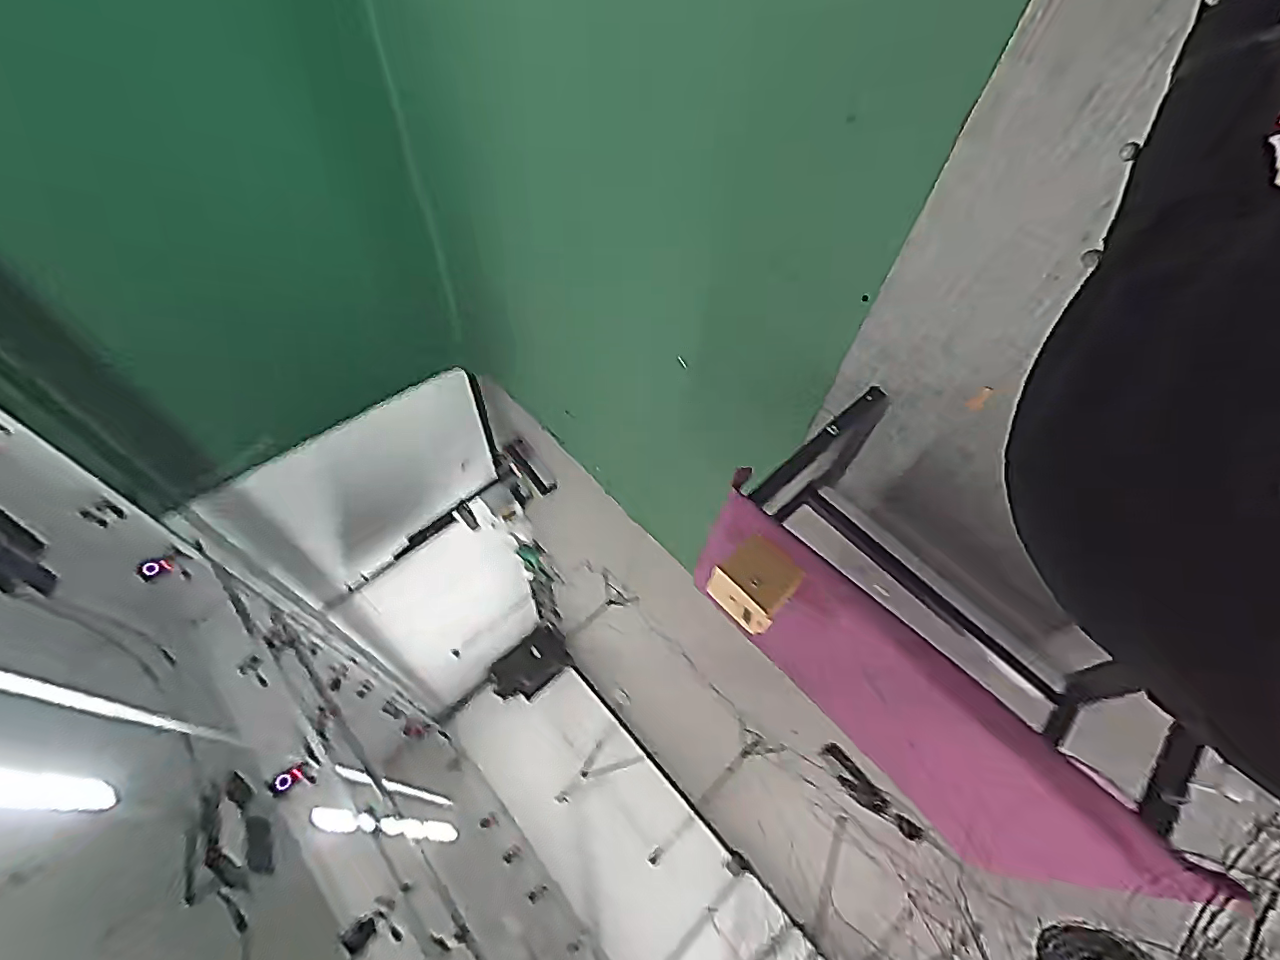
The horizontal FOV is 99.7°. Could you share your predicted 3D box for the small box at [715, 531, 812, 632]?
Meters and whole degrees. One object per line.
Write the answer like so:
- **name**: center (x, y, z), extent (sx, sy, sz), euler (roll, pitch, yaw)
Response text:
- **small box**: center (0.335, 0.273, 1.473), extent (0.179, 0.176, 0.168), euler (42, 153, 23)
